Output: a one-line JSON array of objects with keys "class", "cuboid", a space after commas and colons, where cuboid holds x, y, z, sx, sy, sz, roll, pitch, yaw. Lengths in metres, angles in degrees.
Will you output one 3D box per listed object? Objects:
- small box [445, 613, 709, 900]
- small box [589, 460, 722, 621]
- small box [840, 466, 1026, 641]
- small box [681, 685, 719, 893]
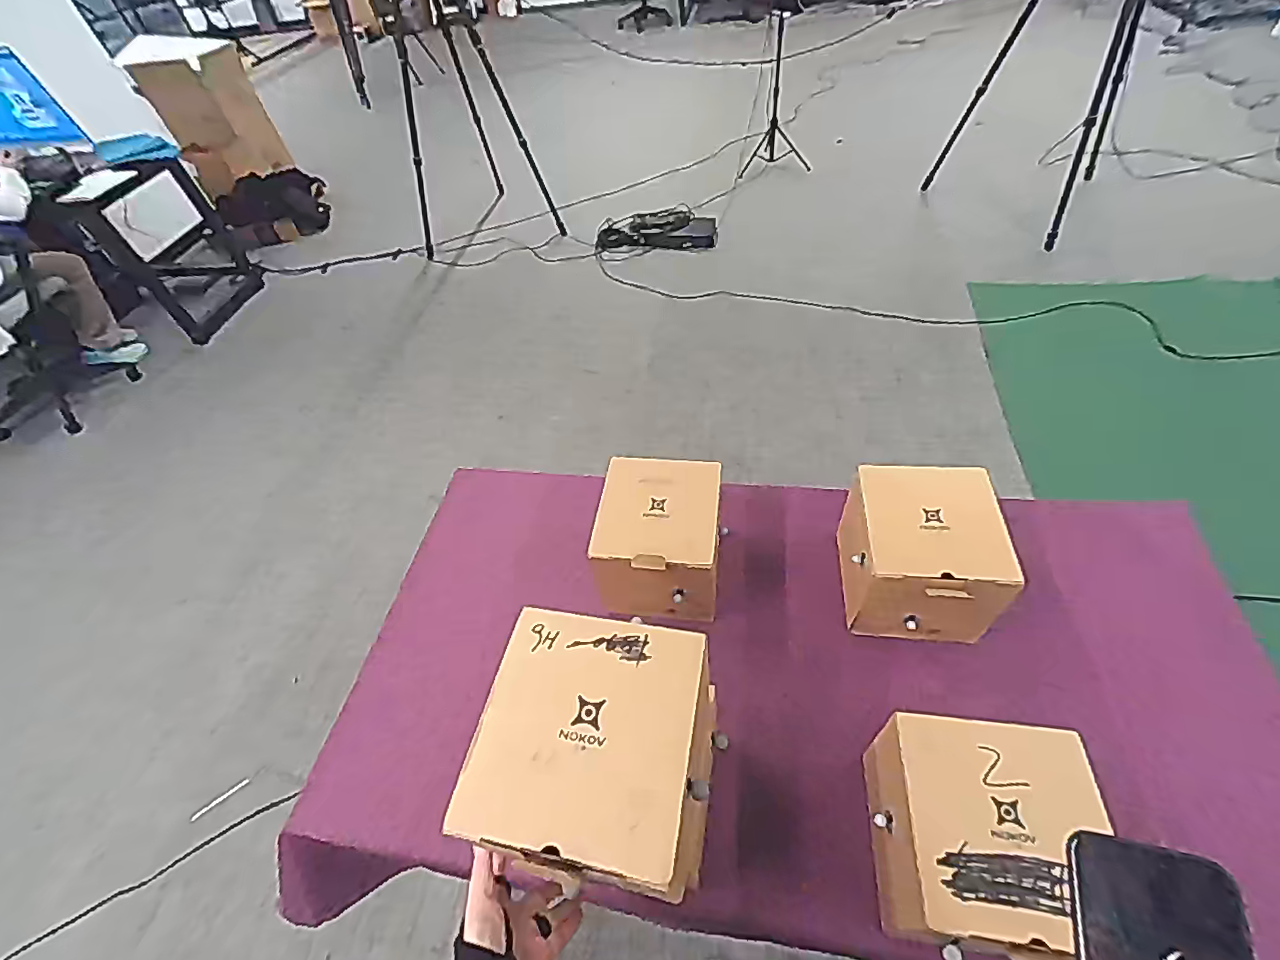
[{"class": "small box", "cuboid": [-0.032, 0.240, 0.471, 0.168, 0.176, 0.179, 5, 52, 12]}, {"class": "small box", "cuboid": [0.034, 0.092, 0.801, 0.168, 0.176, 0.179, 3, 51, 10]}, {"class": "small box", "cuboid": [0.379, 0.100, 0.742, 0.168, 0.176, 0.179, 1, 51, 10]}, {"class": "small box", "cuboid": [-0.004, 0.333, 0.605, 0.168, 0.176, 0.179, 5, 51, 13]}]
